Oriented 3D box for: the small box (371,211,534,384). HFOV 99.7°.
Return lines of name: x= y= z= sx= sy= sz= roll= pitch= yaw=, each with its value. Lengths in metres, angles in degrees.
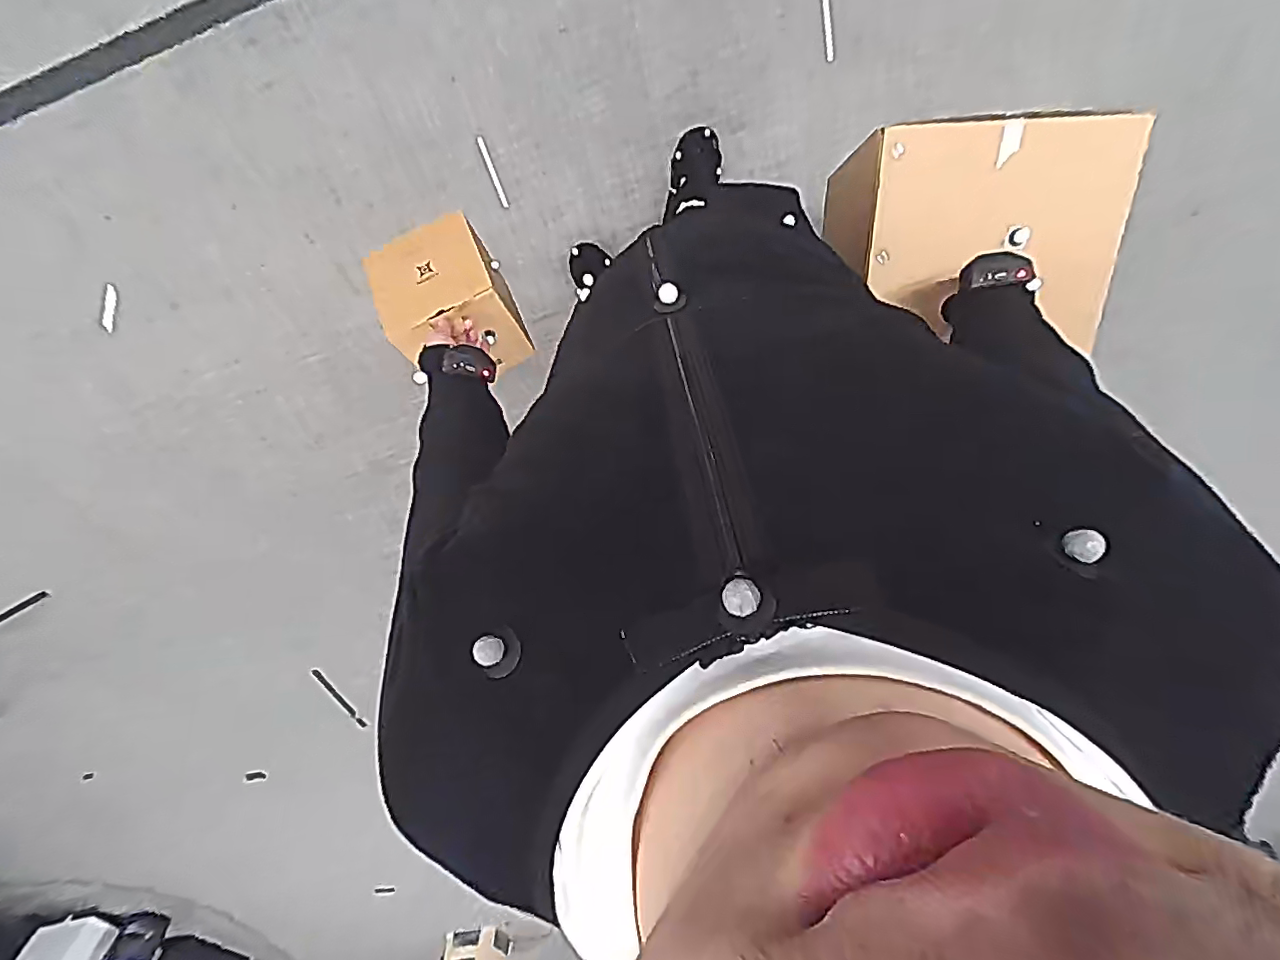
small box: x=-0.289 y=-0.275 z=0.861 sx=0.168 sy=0.179 sz=0.176 roll=-25 pitch=157 yaw=2
